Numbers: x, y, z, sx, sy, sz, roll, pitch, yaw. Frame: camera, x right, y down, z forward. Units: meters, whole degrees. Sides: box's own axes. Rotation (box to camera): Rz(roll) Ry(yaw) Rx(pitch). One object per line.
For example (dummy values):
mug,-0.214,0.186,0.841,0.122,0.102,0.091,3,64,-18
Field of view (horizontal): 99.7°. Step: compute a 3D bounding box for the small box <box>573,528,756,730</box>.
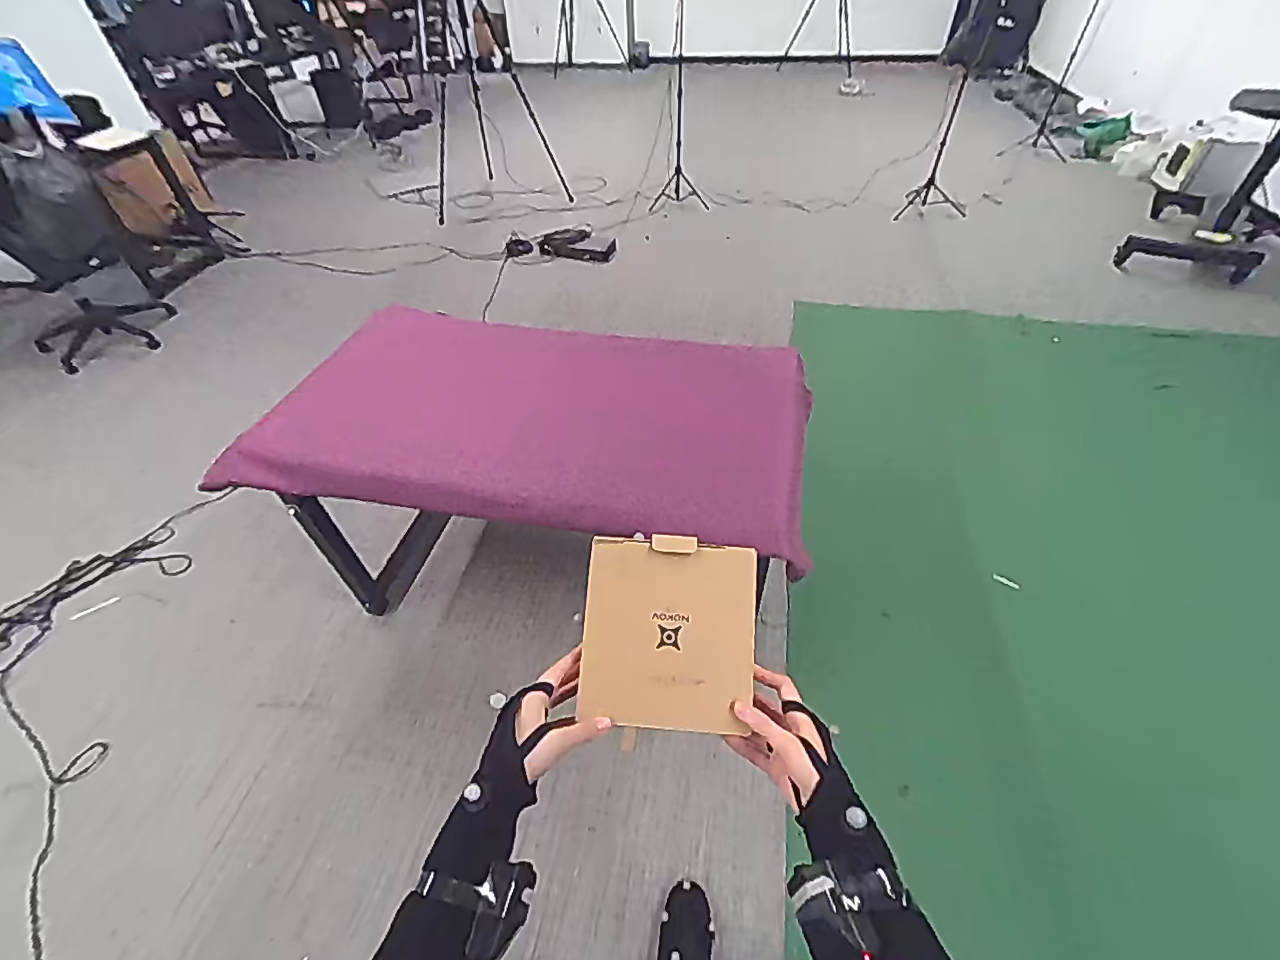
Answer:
small box,0.025,0.156,0.591,0.168,0.176,0.179,4,78,1
